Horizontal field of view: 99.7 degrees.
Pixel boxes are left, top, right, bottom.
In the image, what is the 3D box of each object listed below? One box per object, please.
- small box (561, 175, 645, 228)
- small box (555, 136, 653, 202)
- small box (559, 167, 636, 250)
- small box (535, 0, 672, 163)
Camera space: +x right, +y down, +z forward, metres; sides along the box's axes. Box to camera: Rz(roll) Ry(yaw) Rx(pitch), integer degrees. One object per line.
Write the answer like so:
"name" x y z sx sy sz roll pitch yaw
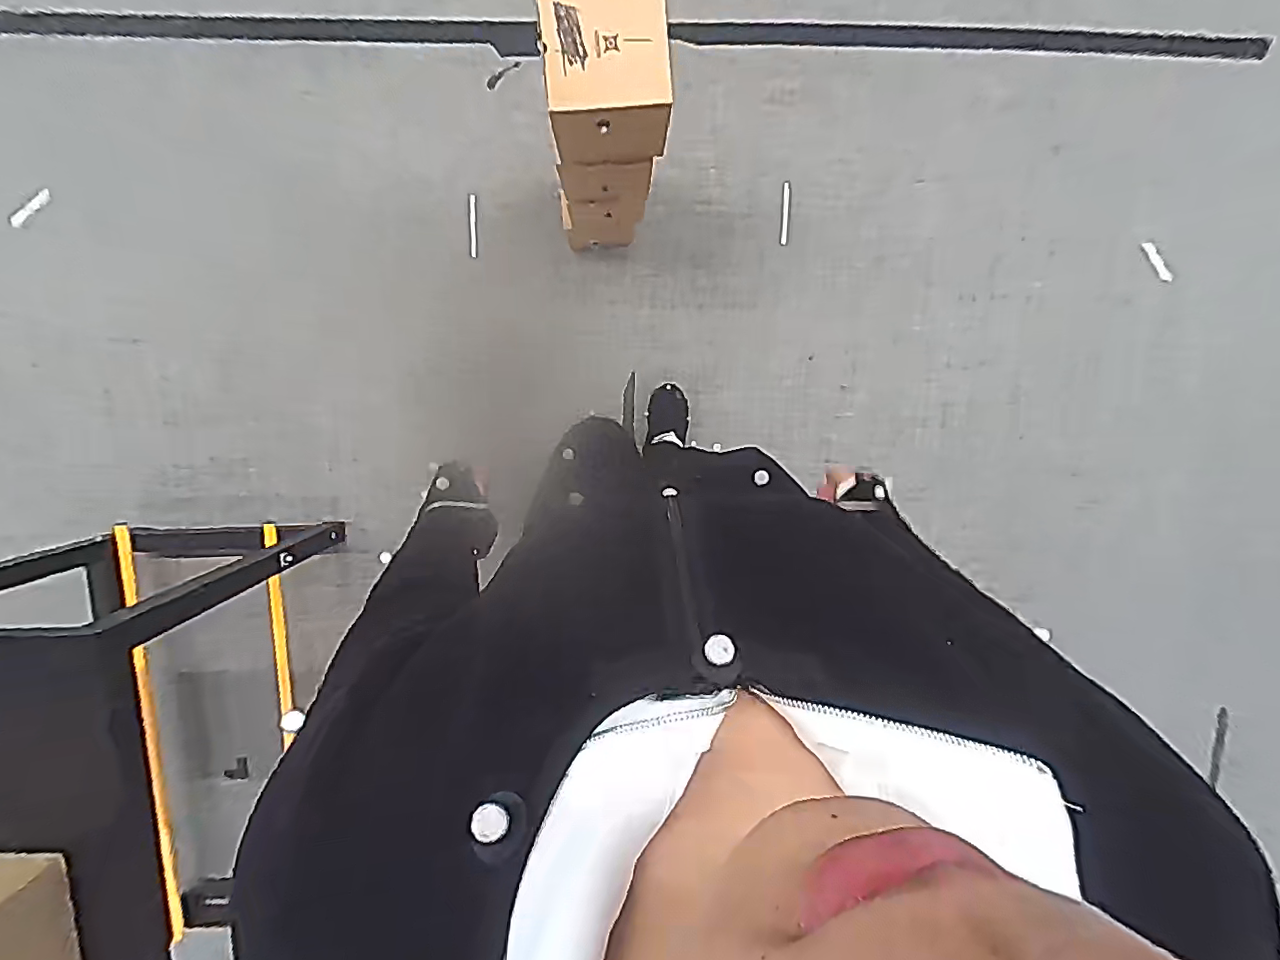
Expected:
"small box" -0.077 -0.646 1.140 0.168 0.176 0.179 -7 99 0
"small box" -0.064 -0.625 0.976 0.168 0.176 0.179 -2 99 -1
"small box" -0.100 -0.671 1.301 0.168 0.176 0.179 -6 100 0
"small box" -0.050 -0.601 0.814 0.179 0.176 0.168 -6 98 -1
